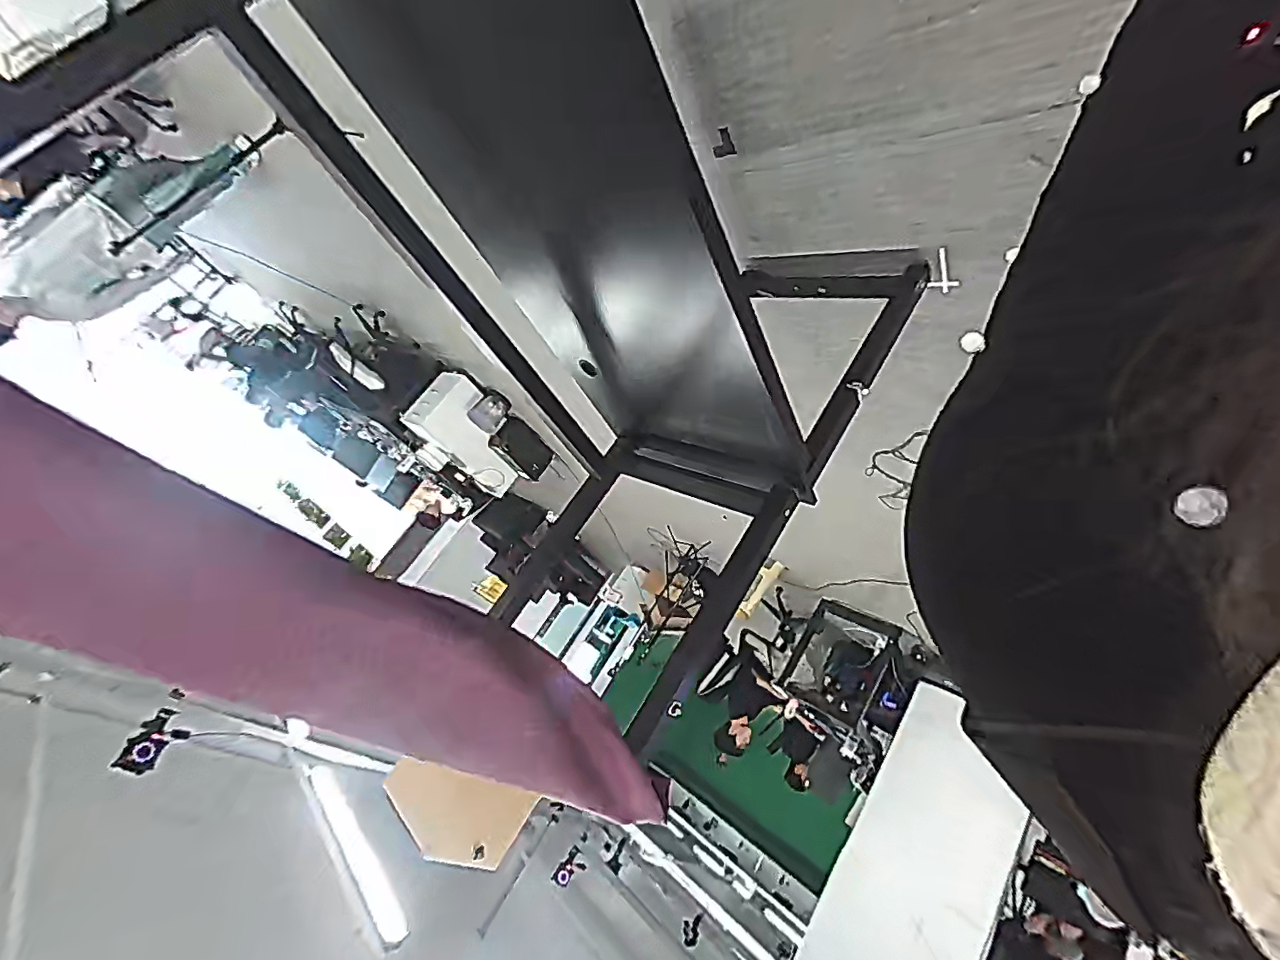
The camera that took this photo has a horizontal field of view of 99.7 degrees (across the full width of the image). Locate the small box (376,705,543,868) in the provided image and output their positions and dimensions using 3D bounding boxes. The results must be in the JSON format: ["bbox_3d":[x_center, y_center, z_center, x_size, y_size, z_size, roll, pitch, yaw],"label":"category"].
[{"bbox_3d":[-0.300,0.507,0.918,0.179,0.176,0.168,19,157,43],"label":"small box"}]
